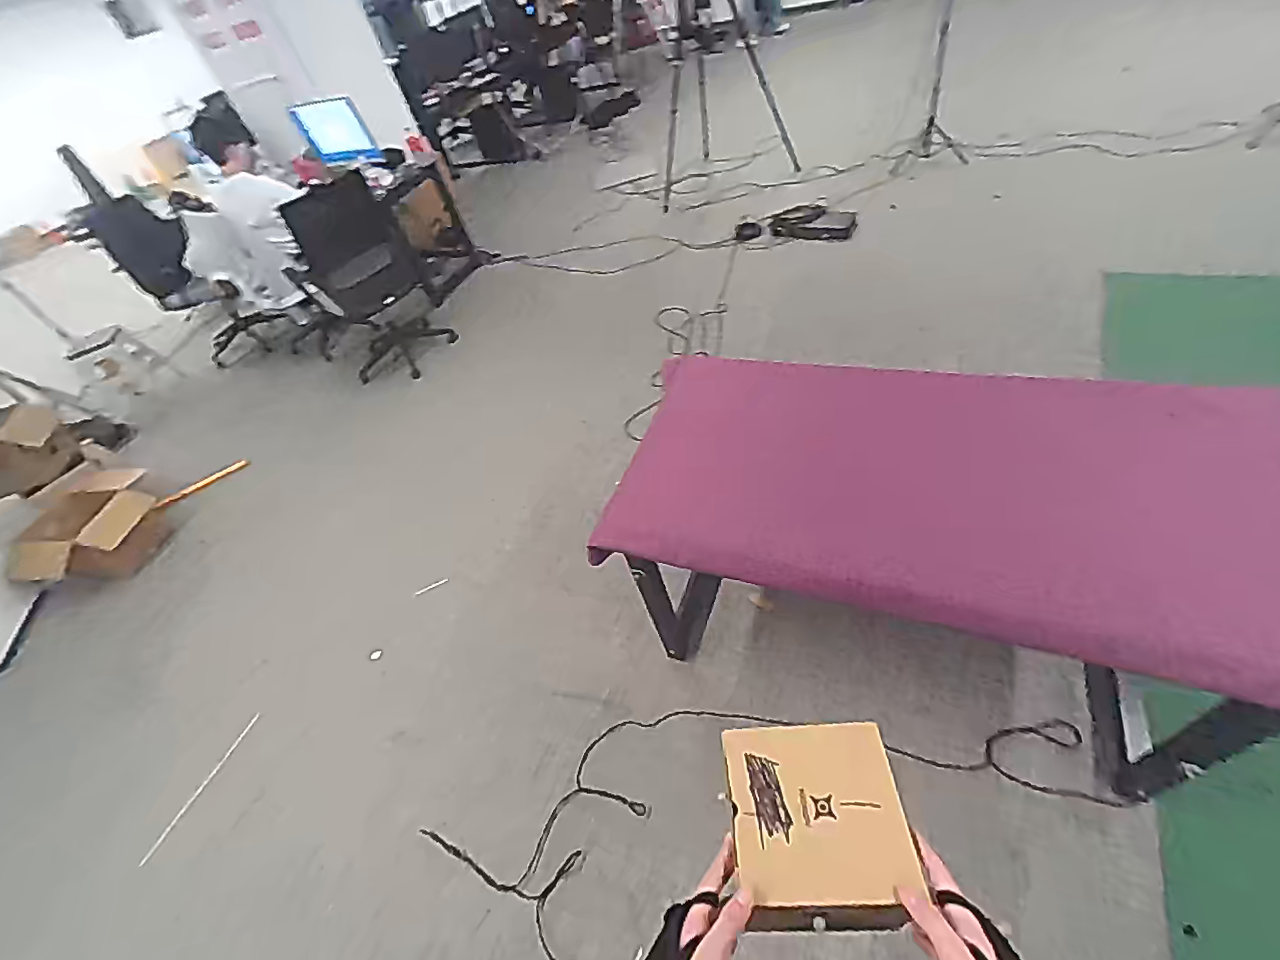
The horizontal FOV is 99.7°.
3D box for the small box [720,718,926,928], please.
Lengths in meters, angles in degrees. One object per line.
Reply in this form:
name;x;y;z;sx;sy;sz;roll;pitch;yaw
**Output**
small box;0.189;0.390;0.611;0.179;0.176;0.168;-6;44;5
